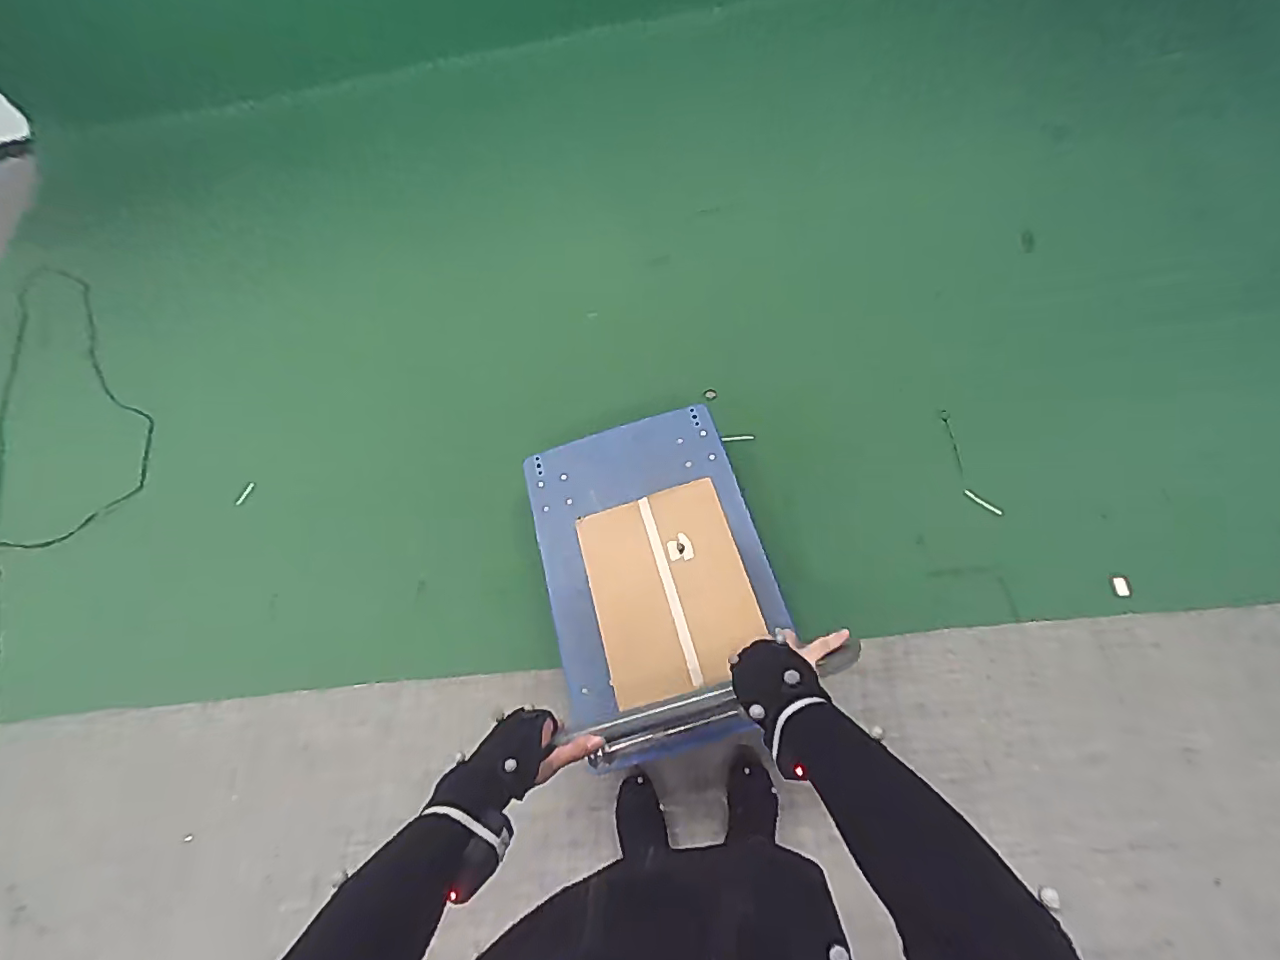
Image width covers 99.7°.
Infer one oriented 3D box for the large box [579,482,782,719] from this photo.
[{"bbox_3d":[0.089,0.280,1.209,0.320,0.320,0.408,-17,63,1],"label":"large box"}]
